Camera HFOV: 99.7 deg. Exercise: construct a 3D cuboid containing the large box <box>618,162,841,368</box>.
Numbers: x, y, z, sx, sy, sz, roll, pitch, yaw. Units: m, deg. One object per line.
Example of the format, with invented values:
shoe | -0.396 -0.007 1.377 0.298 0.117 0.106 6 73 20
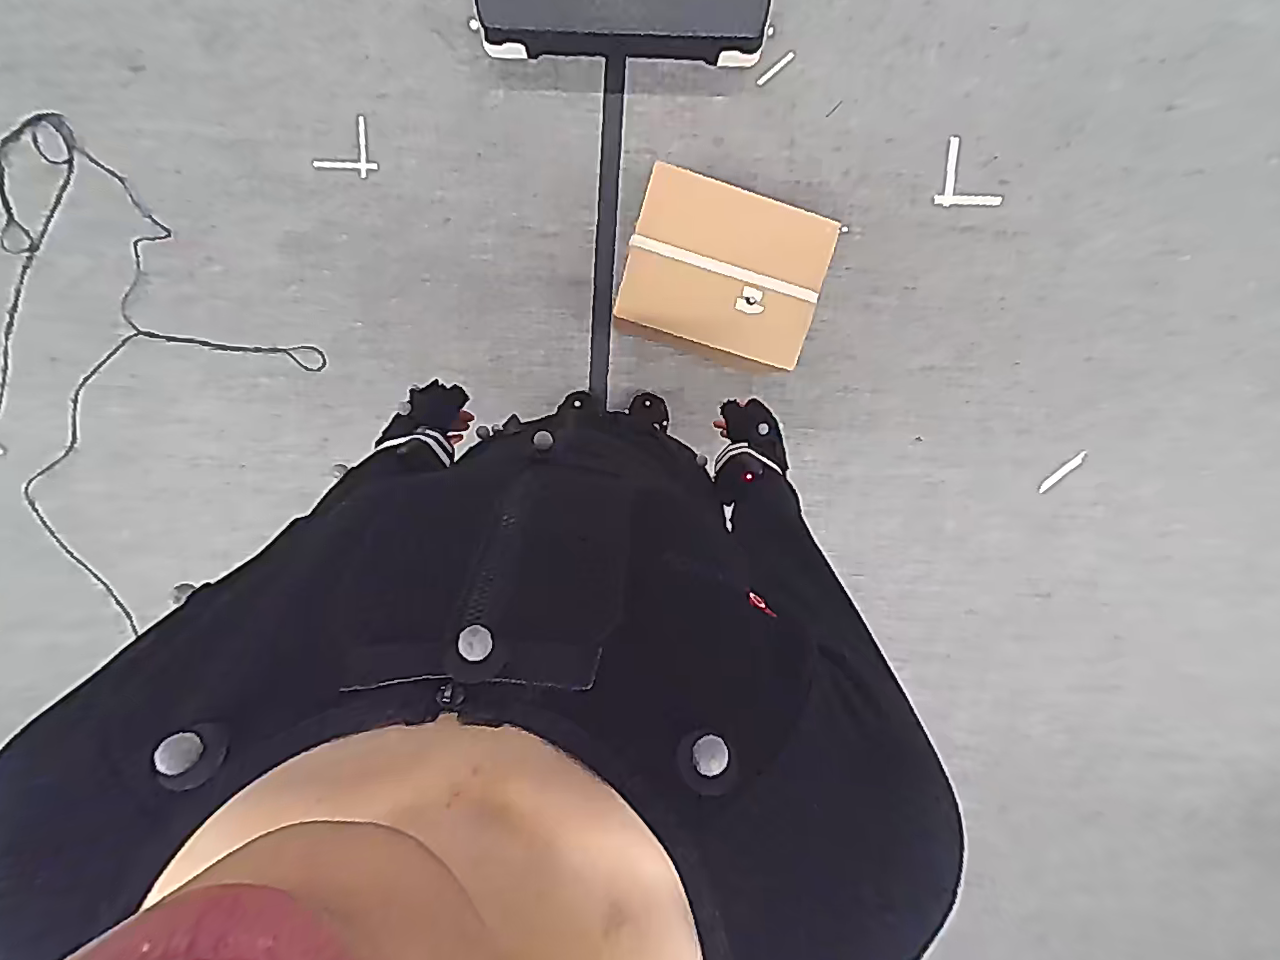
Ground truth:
large box | 0.177 -0.468 1.263 0.408 0.320 0.320 16 100 -5
